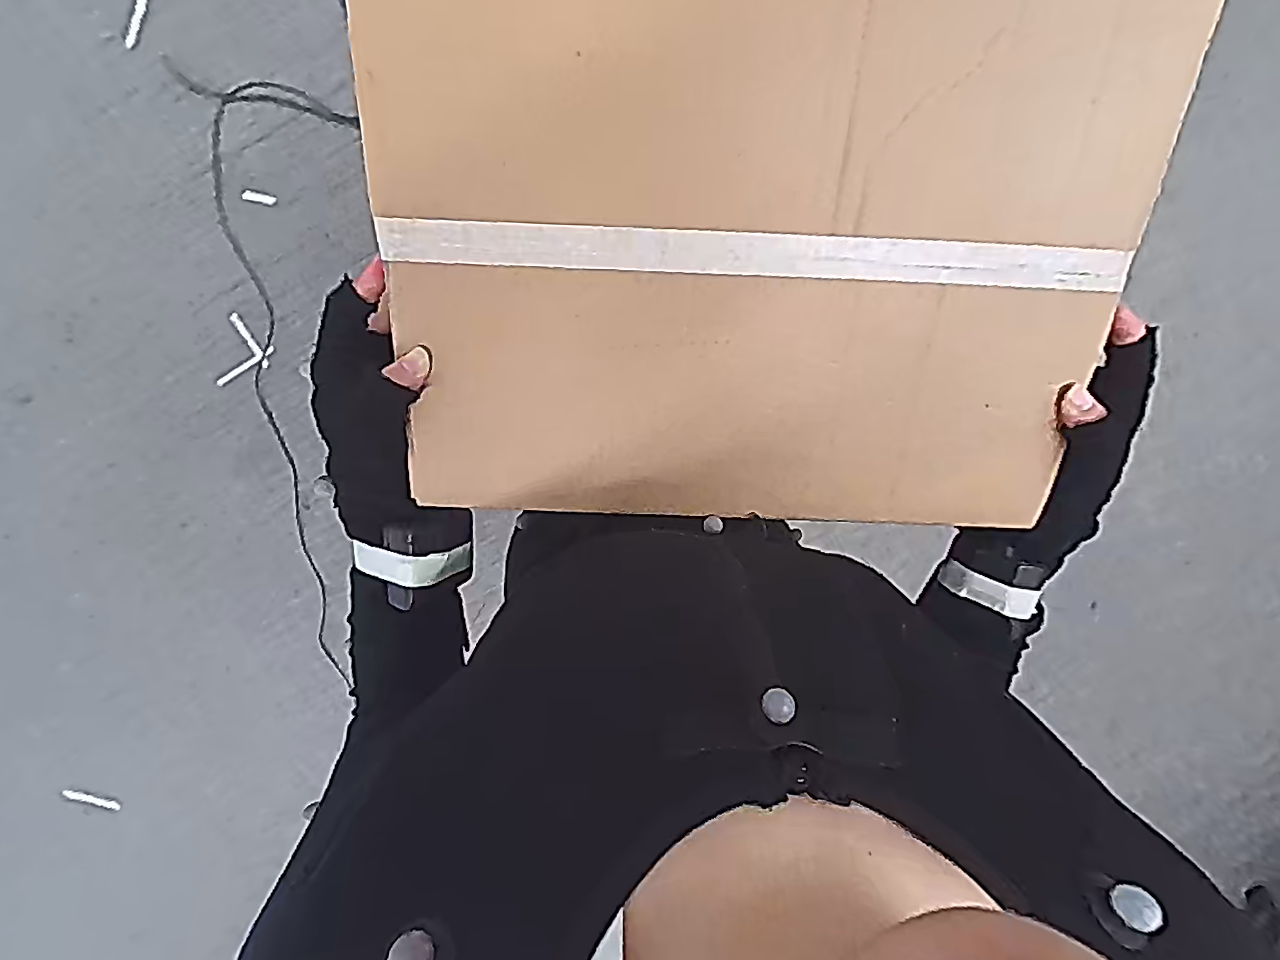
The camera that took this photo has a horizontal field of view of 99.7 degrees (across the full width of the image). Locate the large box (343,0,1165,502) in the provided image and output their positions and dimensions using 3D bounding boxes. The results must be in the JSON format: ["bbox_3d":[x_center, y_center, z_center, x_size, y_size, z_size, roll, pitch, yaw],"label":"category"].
[{"bbox_3d":[0.050,-0.184,0.439,0.408,0.320,0.320,1,113,-2],"label":"large box"}]
